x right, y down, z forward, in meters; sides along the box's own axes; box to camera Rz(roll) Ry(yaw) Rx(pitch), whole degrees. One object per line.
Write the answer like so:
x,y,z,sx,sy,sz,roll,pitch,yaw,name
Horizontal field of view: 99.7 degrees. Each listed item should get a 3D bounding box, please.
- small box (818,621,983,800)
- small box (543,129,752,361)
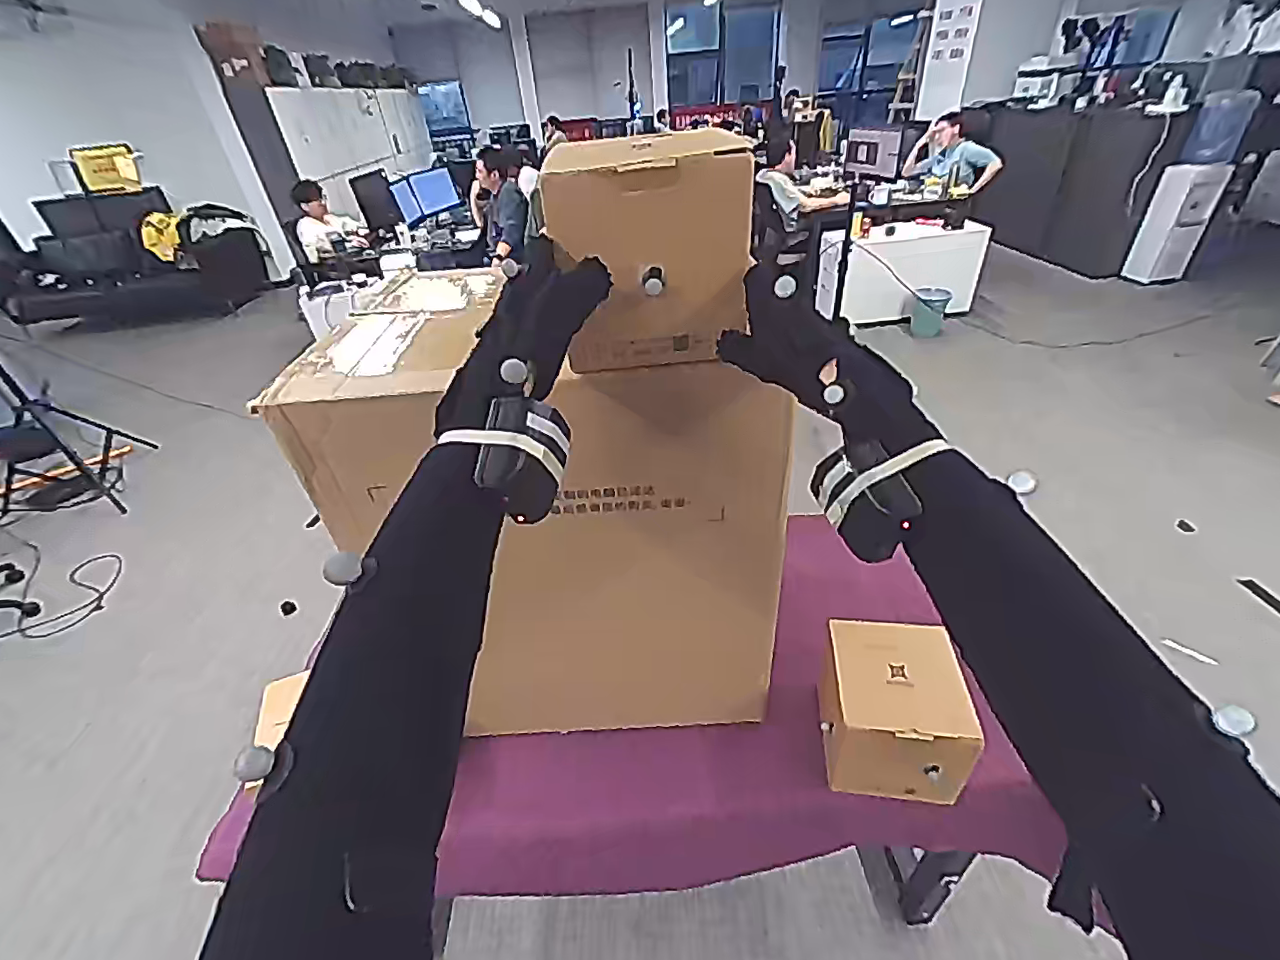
0.357,0.330,0.779,0.168,0.176,0.179,2,35,9,small box
0.010,-0.223,0.524,0.168,0.176,0.179,-5,38,1,small box
